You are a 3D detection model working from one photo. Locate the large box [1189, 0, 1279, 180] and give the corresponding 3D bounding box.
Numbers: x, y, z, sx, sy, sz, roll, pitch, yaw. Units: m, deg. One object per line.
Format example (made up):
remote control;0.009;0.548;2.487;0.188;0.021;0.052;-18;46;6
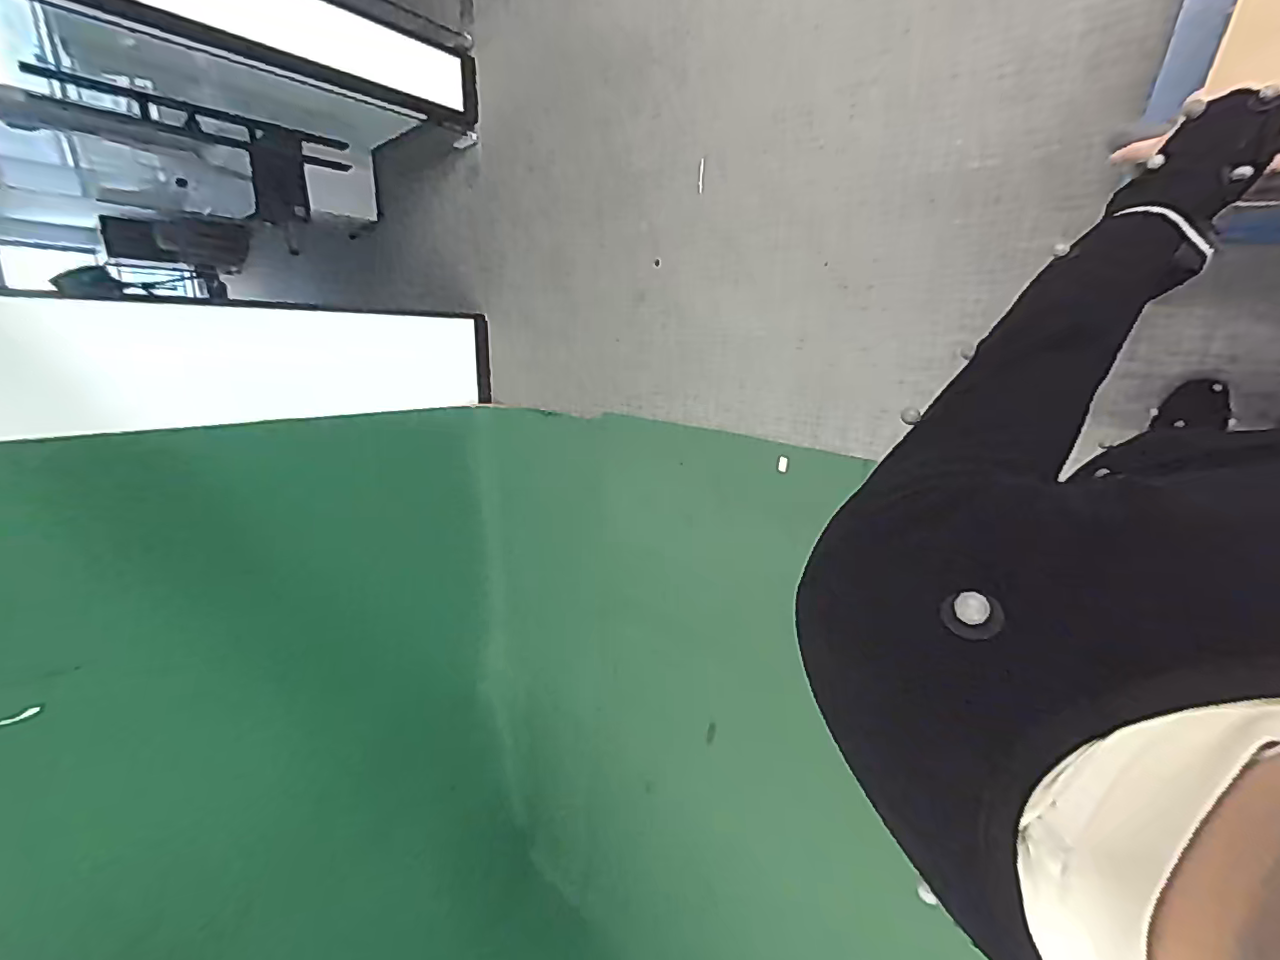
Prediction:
large box;1.022;-0.671;0.726;0.320;0.320;0.408;22;112;38
